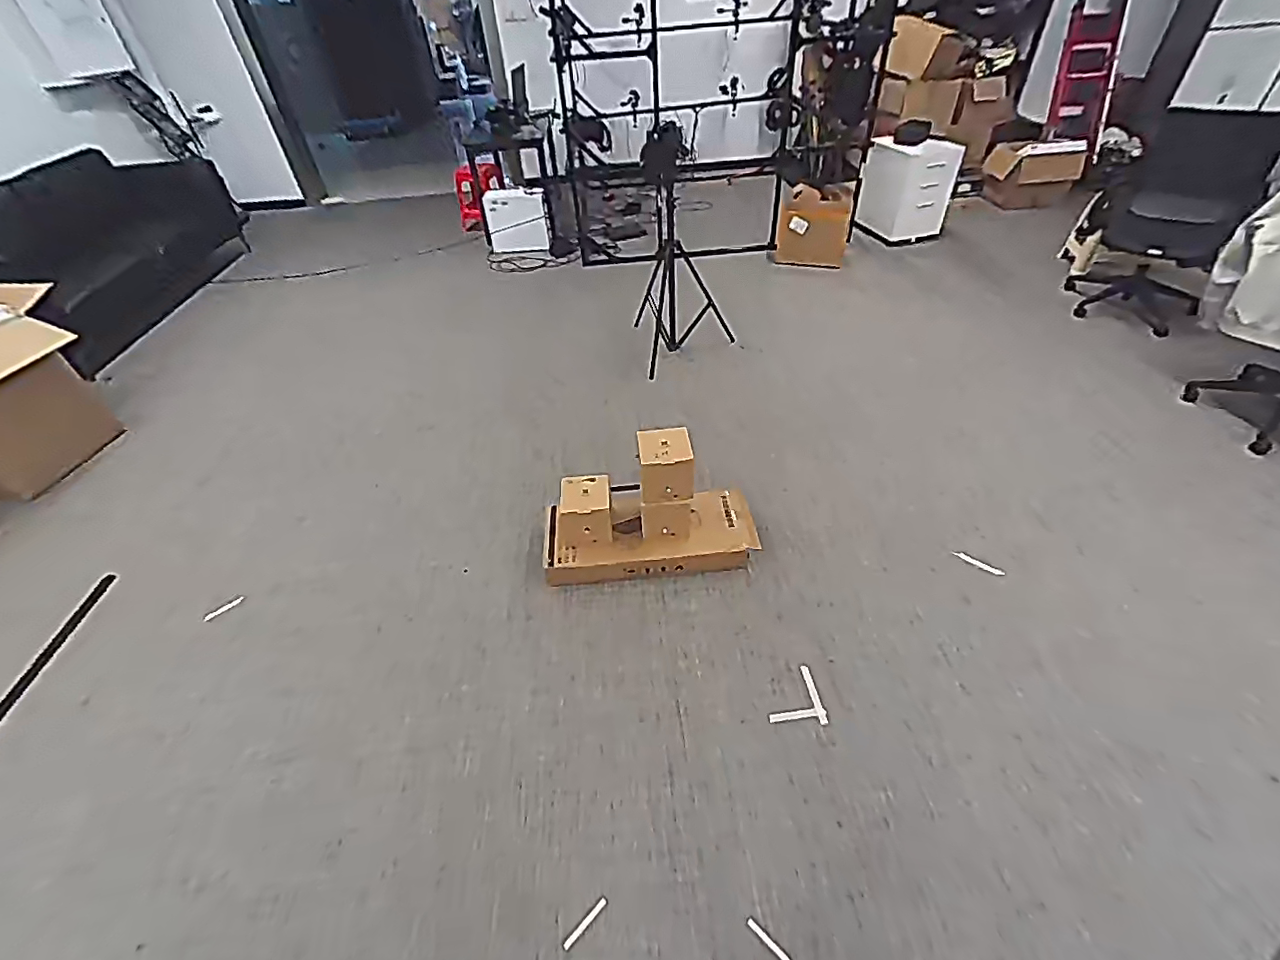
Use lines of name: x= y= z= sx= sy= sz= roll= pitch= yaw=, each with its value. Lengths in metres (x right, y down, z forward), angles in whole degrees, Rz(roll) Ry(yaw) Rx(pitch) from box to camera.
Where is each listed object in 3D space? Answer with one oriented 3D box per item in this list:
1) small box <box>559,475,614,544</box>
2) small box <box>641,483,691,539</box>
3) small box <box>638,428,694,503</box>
small box: x=-0.180 y=0.109 z=1.874 sx=0.168 sy=0.176 sz=0.179 roll=-6 pitch=43 yaw=1
small box: x=0.088 y=0.086 z=1.880 sx=0.168 sy=0.176 sz=0.179 roll=-3 pitch=43 yaw=2
small box: x=0.083 y=-0.047 z=1.781 sx=0.168 sy=0.176 sz=0.179 roll=-6 pitch=42 yaw=-1
